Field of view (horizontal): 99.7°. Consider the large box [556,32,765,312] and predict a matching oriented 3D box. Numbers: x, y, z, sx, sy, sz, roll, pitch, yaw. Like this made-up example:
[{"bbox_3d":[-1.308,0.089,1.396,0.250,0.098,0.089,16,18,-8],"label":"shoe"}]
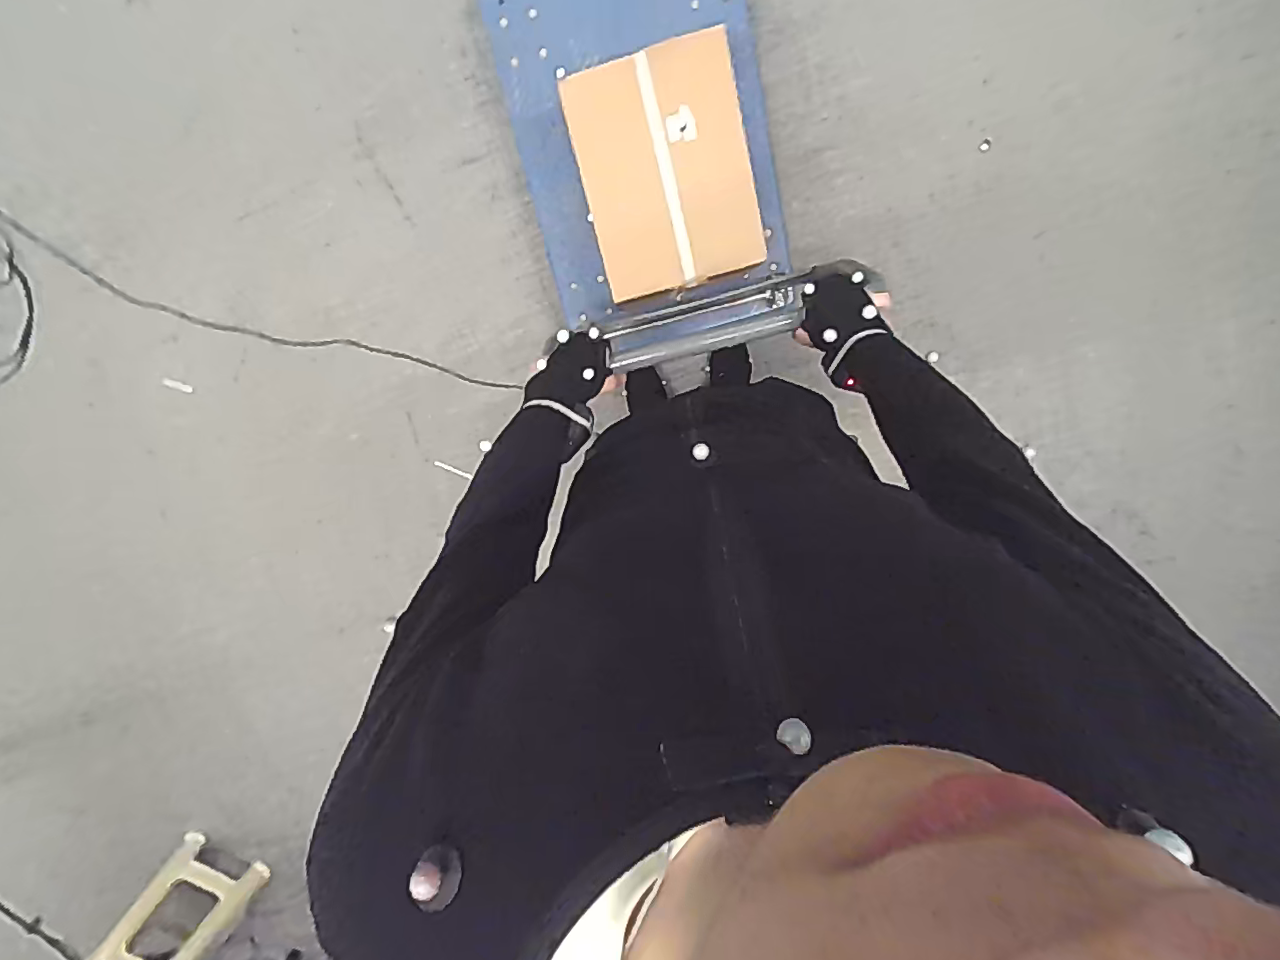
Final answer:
[{"bbox_3d":[0.053,-0.610,1.163,0.320,0.320,0.408,-14,103,6],"label":"large box"}]
